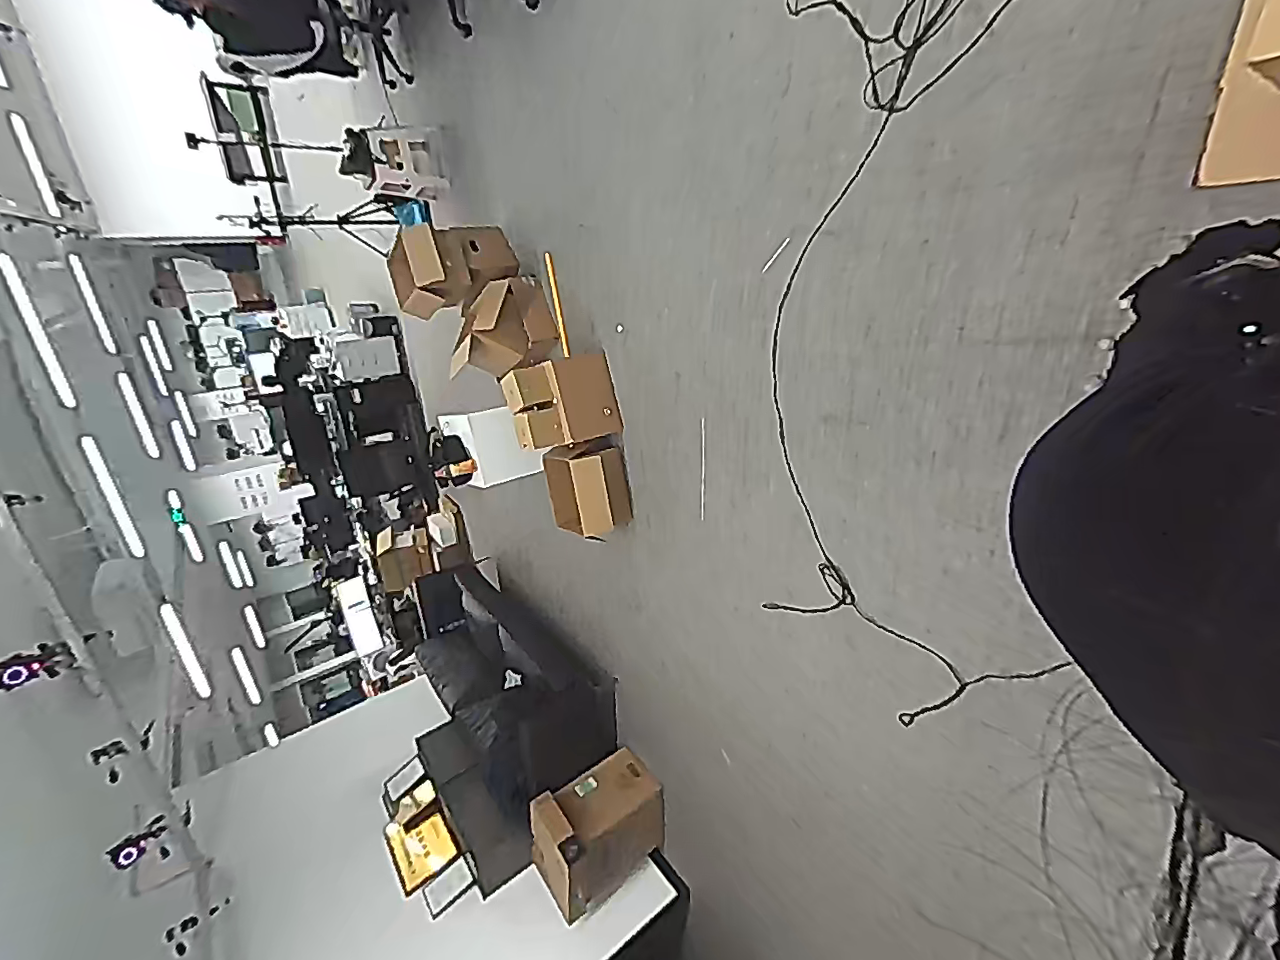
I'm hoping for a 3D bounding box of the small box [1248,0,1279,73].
[{"bbox_3d":[0.915,-0.635,0.666,0.168,0.176,0.179,28,128,48],"label":"small box"}]
